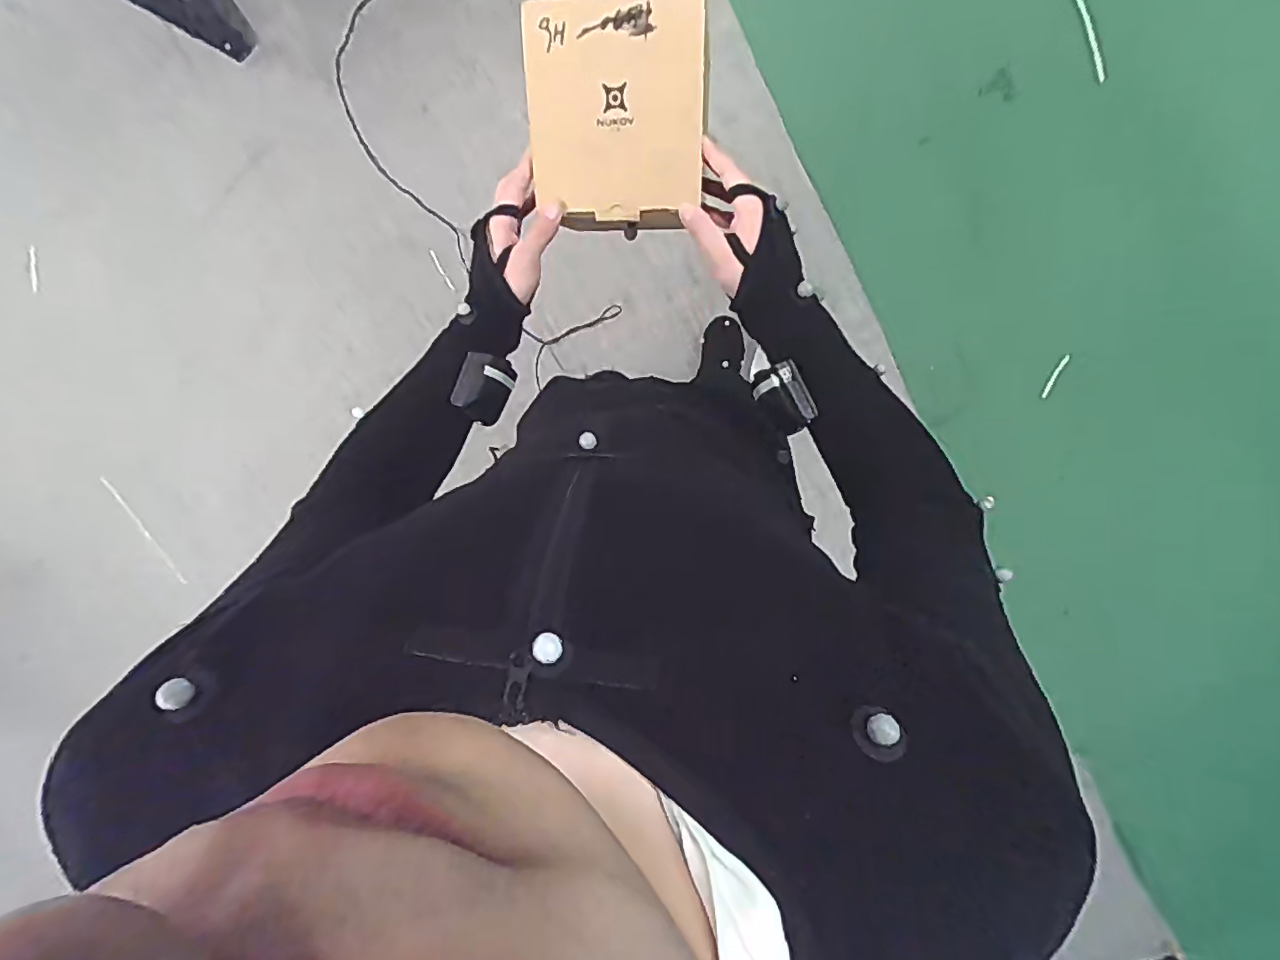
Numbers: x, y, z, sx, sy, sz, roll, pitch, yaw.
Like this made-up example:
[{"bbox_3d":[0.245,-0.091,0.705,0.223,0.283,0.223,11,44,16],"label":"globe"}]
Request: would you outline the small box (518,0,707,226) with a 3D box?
[{"bbox_3d":[-0.015,-0.369,0.571,0.168,0.176,0.179,2,111,7],"label":"small box"}]
